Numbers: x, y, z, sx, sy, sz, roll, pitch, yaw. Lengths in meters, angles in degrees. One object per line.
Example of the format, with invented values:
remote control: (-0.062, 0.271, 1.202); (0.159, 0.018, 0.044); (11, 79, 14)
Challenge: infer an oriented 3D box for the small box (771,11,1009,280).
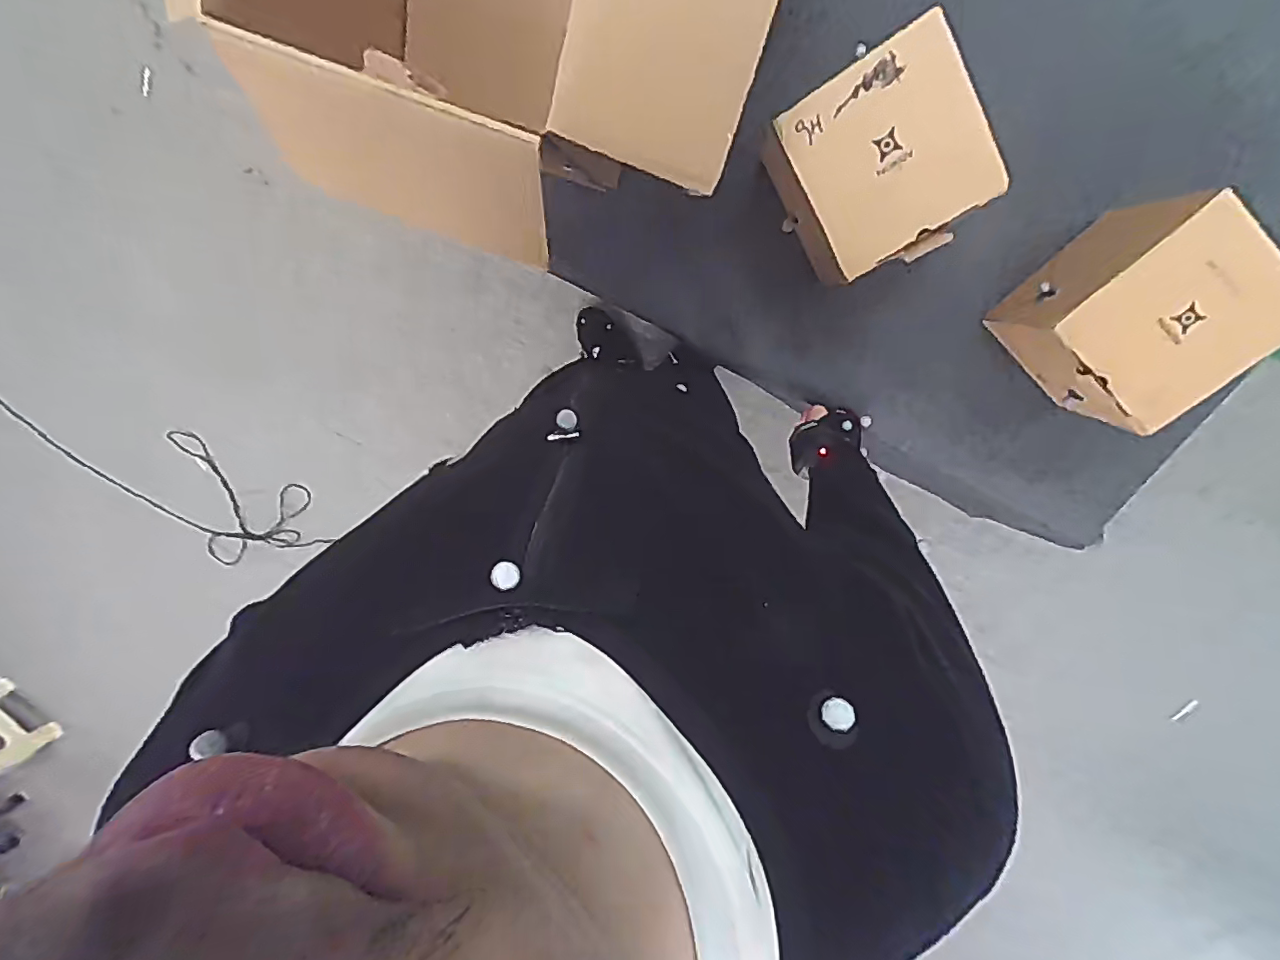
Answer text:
small box: (0.259, -0.344, 0.600); (0.168, 0.176, 0.179); (-27, 104, 17)

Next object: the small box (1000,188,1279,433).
small box: (0.550, -0.184, 0.608); (0.168, 0.176, 0.179); (43, 110, -8)
